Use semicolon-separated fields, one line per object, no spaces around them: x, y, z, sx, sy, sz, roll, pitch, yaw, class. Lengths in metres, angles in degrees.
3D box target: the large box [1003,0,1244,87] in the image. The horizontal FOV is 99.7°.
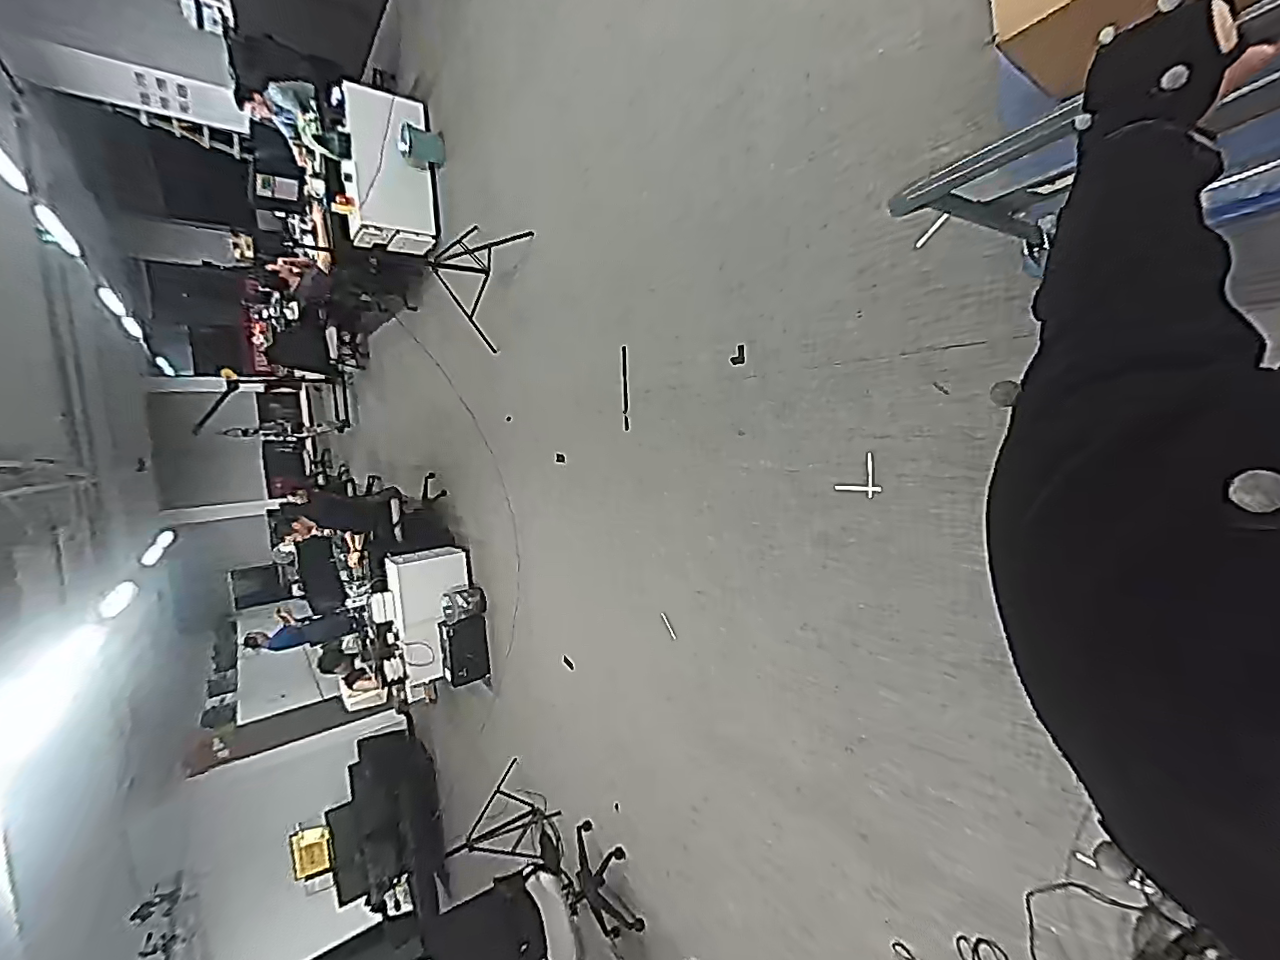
0.810;-0.894;0.793;0.408;0.320;0.320;-4;92;55;large box
